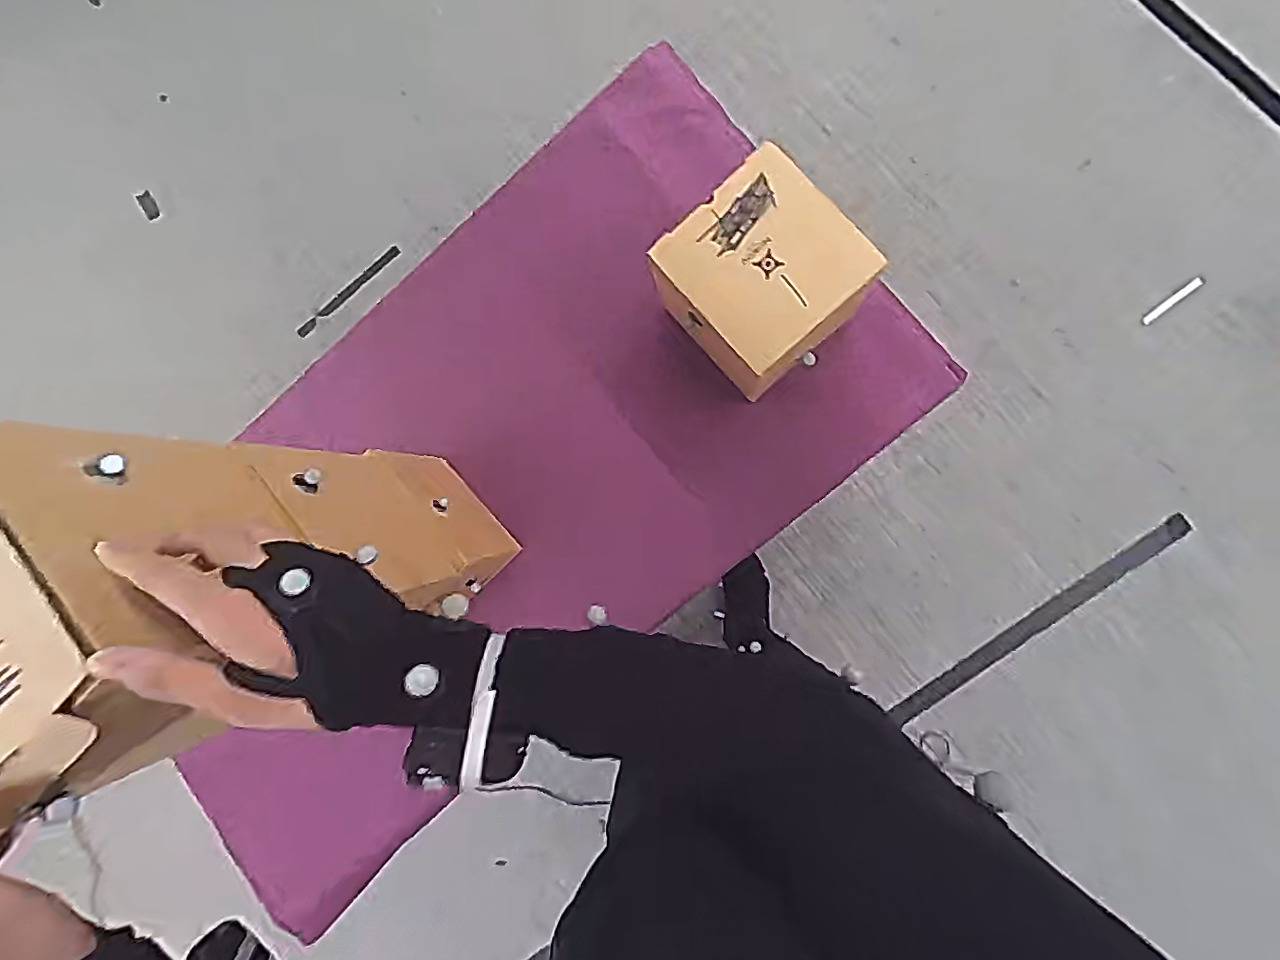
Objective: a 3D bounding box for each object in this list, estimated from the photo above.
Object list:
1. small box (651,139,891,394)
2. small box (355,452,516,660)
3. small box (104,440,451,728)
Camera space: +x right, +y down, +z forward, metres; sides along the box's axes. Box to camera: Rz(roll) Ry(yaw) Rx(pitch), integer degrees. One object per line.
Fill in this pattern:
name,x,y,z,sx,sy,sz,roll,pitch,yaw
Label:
small box,0.137,-0.219,0.609,0.168,0.176,0.179,-41,84,7
small box,-0.287,0.084,0.674,0.168,0.176,0.179,-43,83,5
small box,-0.321,0.086,0.512,0.168,0.176,0.179,-41,83,6
